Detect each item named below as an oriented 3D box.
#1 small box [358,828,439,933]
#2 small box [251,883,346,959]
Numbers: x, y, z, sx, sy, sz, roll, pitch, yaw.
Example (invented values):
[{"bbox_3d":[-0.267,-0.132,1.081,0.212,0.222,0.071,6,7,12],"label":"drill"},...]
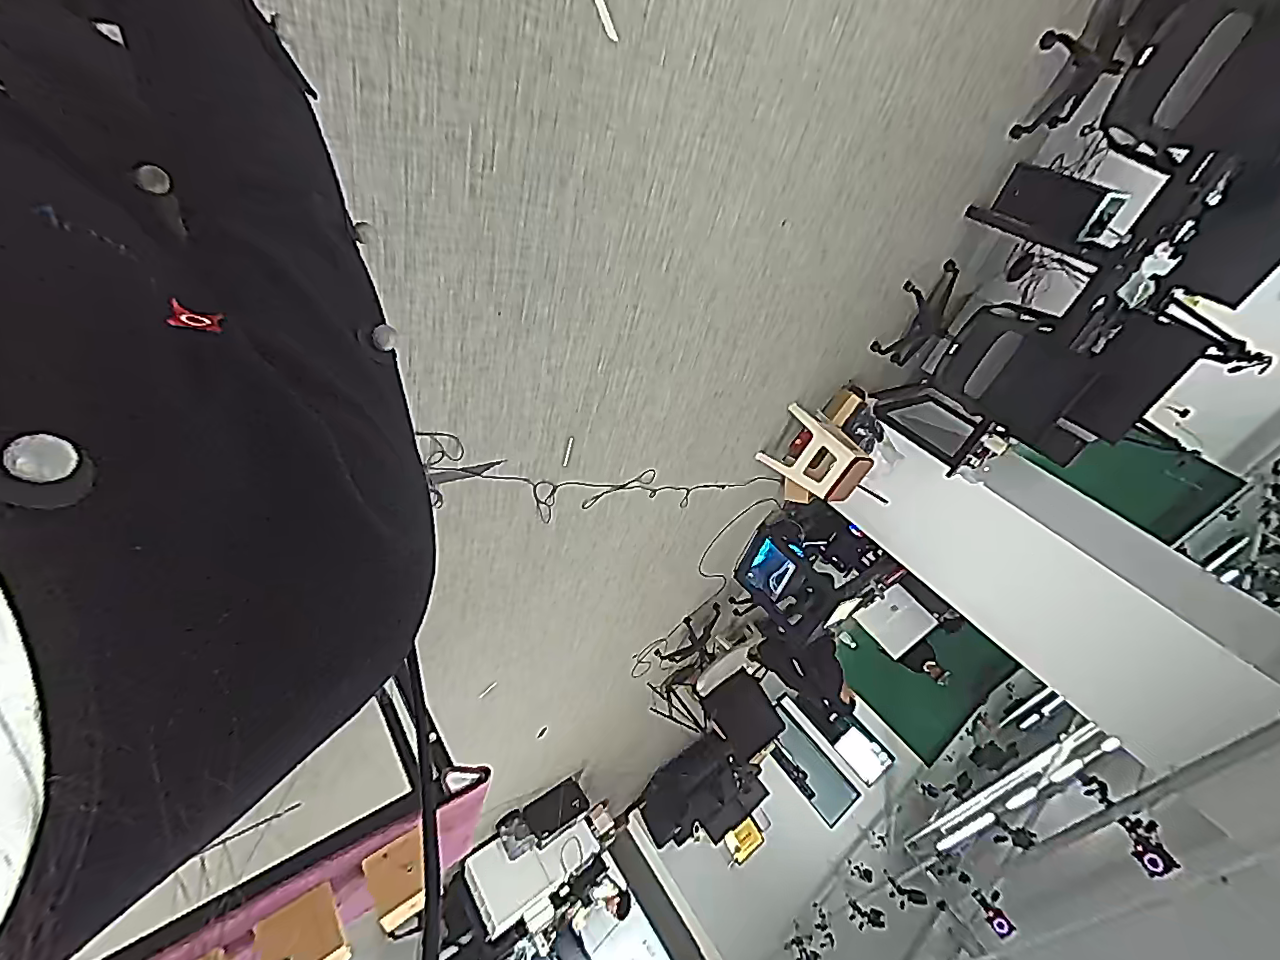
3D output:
[{"bbox_3d":[-0.704,1.162,1.579,0.168,0.176,0.179,-20,142,-33],"label":"small box"},{"bbox_3d":[-0.899,1.218,1.421,0.179,0.176,0.168,-18,141,-35],"label":"small box"}]
